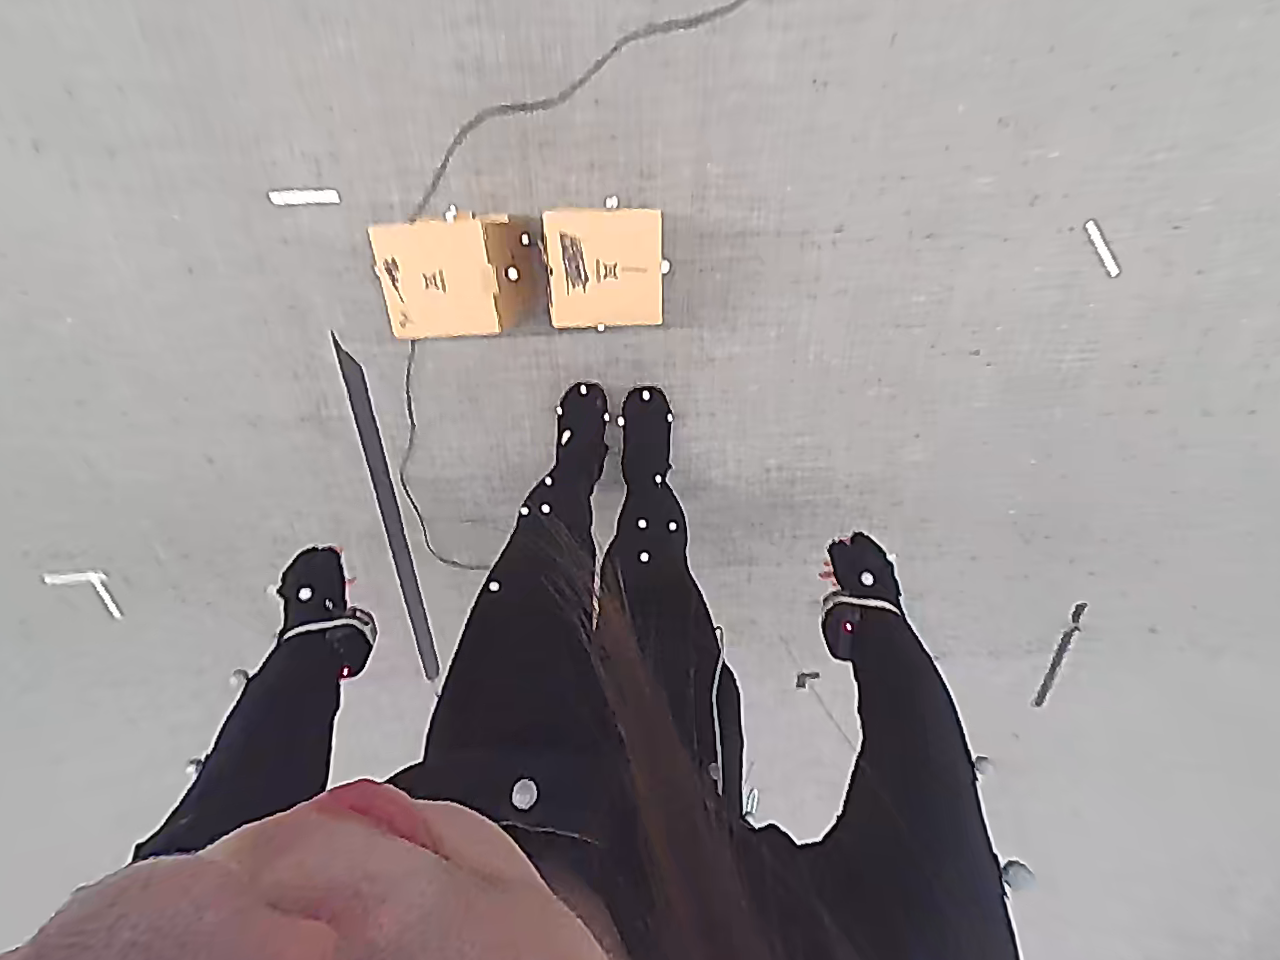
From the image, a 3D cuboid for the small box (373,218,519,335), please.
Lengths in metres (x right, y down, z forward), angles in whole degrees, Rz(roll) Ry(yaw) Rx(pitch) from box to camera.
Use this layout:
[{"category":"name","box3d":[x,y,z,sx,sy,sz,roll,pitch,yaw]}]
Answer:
[{"category":"small box","box3d":[-0.307,-0.344,0.903,0.179,0.176,0.168,-2,116,2]}]

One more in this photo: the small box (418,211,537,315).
[{"category":"small box","box3d":[-0.303,-0.421,1.047,0.168,0.176,0.179,-1,117,2]}]

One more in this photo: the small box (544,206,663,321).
[{"category":"small box","box3d":[-0.053,-0.359,0.894,0.179,0.176,0.168,-1,116,-1]}]
